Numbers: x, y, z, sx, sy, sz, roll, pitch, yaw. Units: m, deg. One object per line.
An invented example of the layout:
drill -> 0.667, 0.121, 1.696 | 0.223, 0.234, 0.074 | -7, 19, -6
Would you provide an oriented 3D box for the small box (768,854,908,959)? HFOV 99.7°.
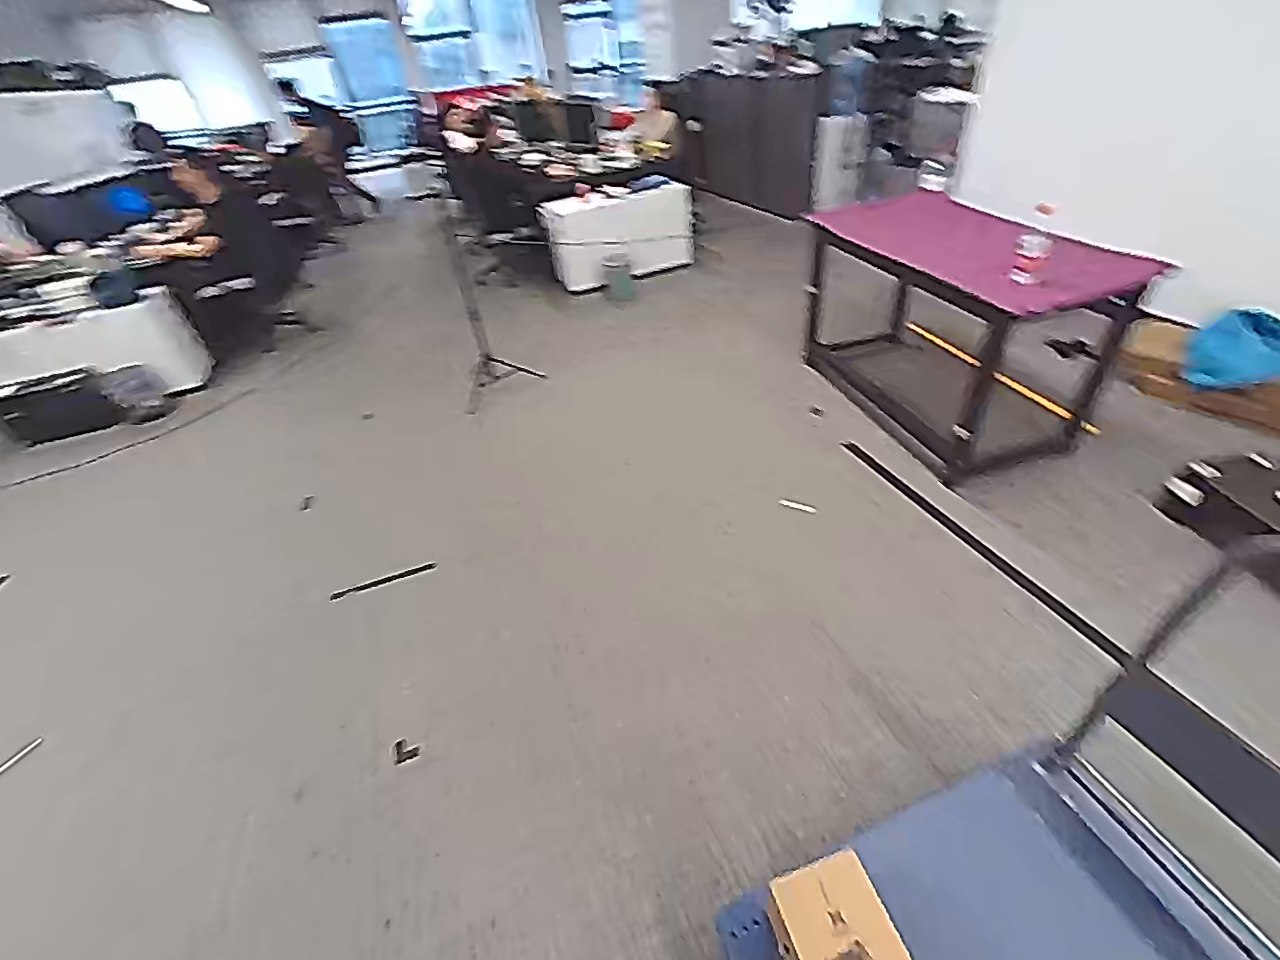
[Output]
small box -> 0.331, 0.789, 0.927 | 0.168, 0.176, 0.179 | -14, 39, -8
